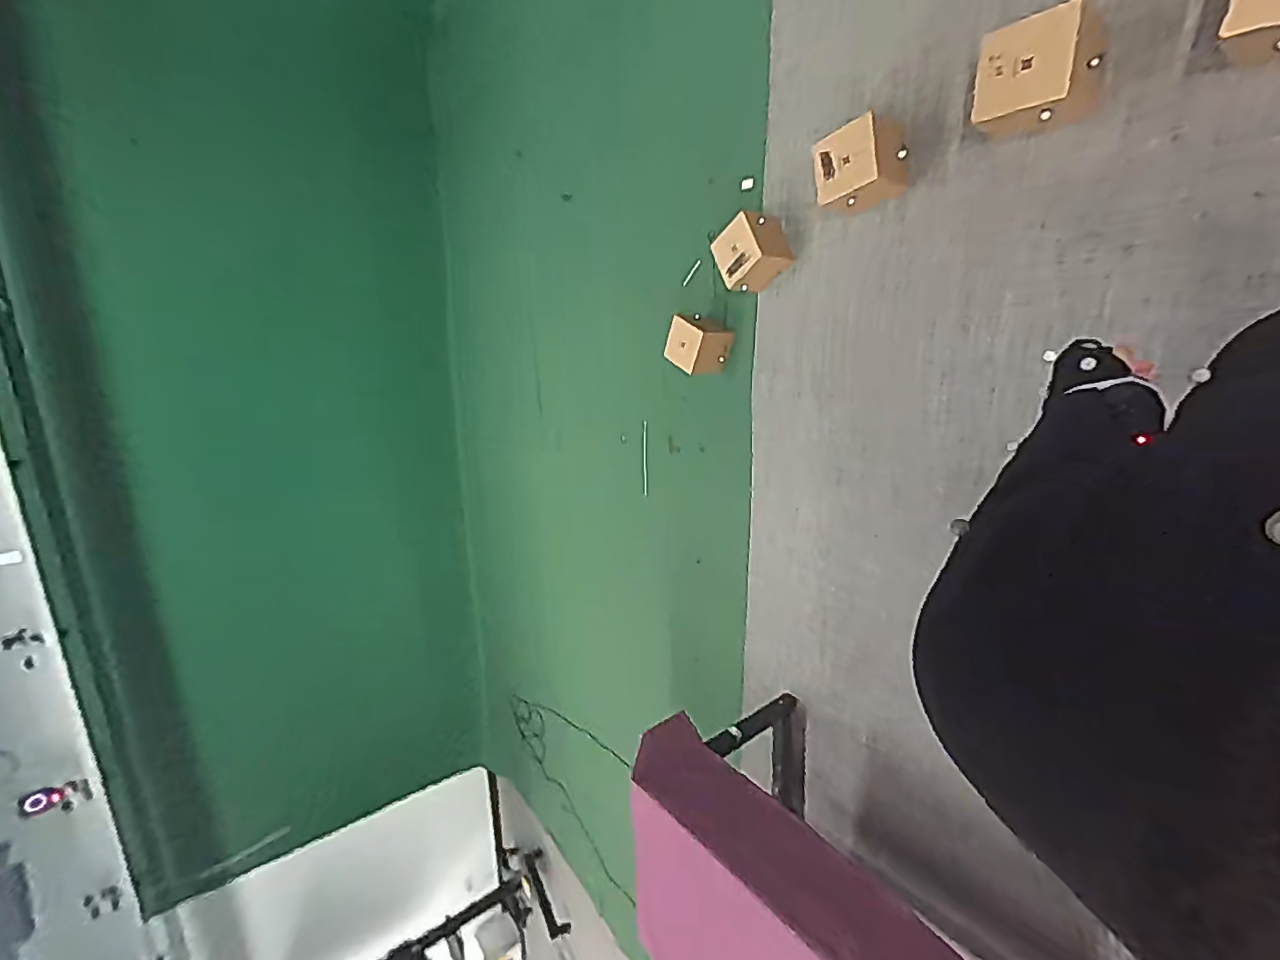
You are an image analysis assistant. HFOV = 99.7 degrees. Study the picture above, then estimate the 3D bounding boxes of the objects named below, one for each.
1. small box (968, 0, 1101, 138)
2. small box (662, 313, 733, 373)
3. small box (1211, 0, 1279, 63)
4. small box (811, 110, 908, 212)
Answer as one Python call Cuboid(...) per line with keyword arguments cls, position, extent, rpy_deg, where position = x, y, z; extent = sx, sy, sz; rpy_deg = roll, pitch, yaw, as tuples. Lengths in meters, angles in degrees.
Cuboid(cls="small box", position=(0.826, -0.847, 1.133), extent=(0.179, 0.176, 0.168), rpy_deg=(17, 112, 50))
Cuboid(cls="small box", position=(0.218, -0.515, 2.038), extent=(0.179, 0.176, 0.168), rpy_deg=(45, 132, 38))
Cuboid(cls="small box", position=(1.054, -0.788, 0.842), extent=(0.179, 0.176, 0.168), rpy_deg=(25, 119, 49))
Cuboid(cls="small box", position=(0.588, -0.842, 1.452), extent=(0.179, 0.176, 0.168), rpy_deg=(-2, 97, 53))
